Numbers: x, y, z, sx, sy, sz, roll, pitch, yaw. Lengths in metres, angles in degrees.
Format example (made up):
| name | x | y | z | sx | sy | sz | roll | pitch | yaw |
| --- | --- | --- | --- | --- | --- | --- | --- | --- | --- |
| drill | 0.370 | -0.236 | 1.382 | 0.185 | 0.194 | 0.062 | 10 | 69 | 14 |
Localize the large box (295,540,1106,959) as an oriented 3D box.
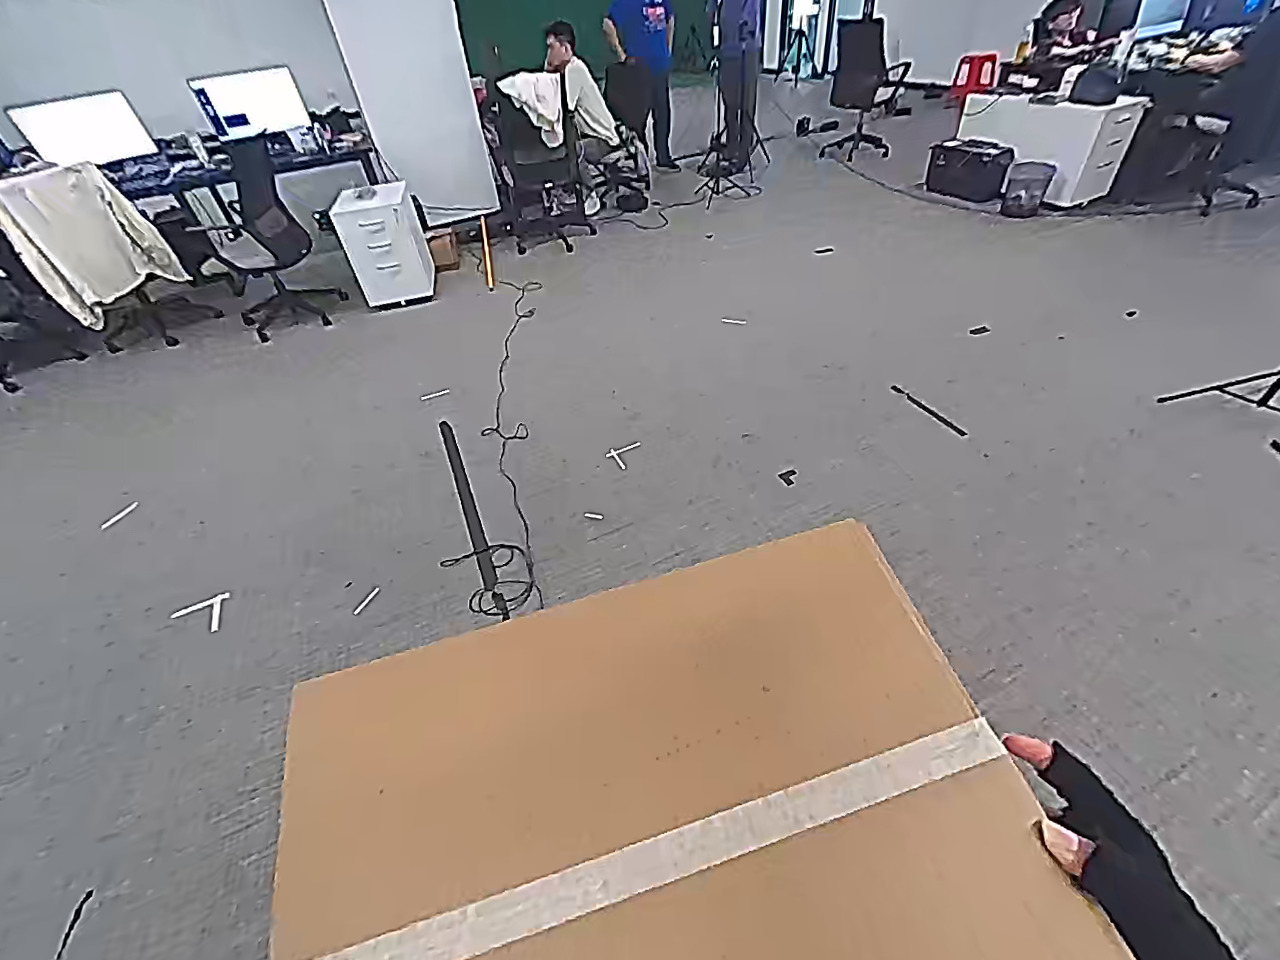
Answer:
| name | x | y | z | sx | sy | sz | roll | pitch | yaw |
| --- | --- | --- | --- | --- | --- | --- | --- | --- | --- |
| large box | 0.024 | 0.299 | 0.419 | 0.408 | 0.320 | 0.320 | -16 | 55 | -6 |
